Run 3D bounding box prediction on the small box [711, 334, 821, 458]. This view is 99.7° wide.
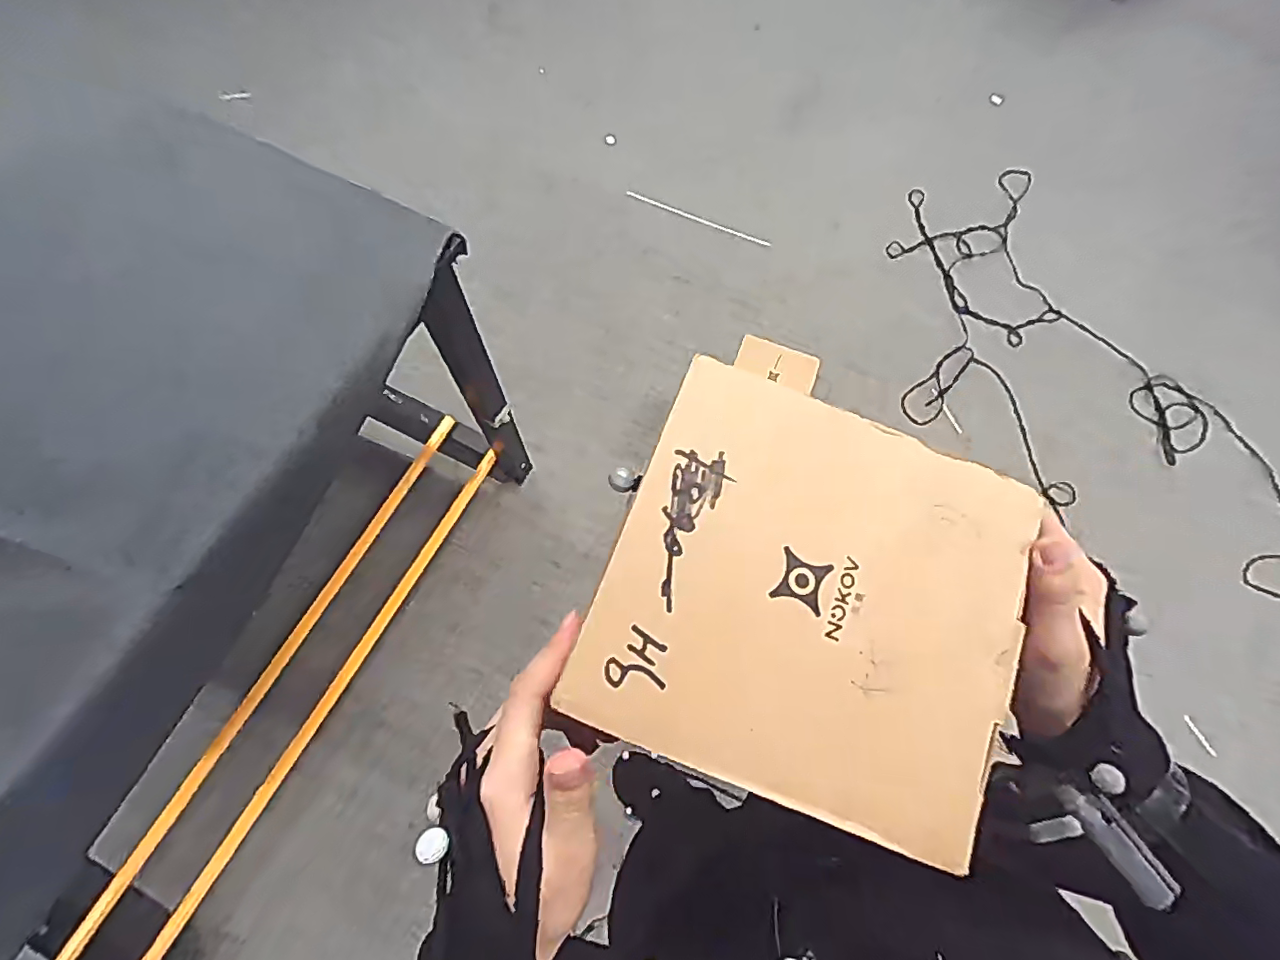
[{"bbox_3d":[0.259,-0.171,1.151,0.168,0.176,0.179,21,69,6],"label":"small box"}]

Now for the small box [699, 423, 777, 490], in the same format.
[{"bbox_3d":[0.248,-0.102,1.300,0.168,0.176,0.179,20,70,6],"label":"small box"}]
